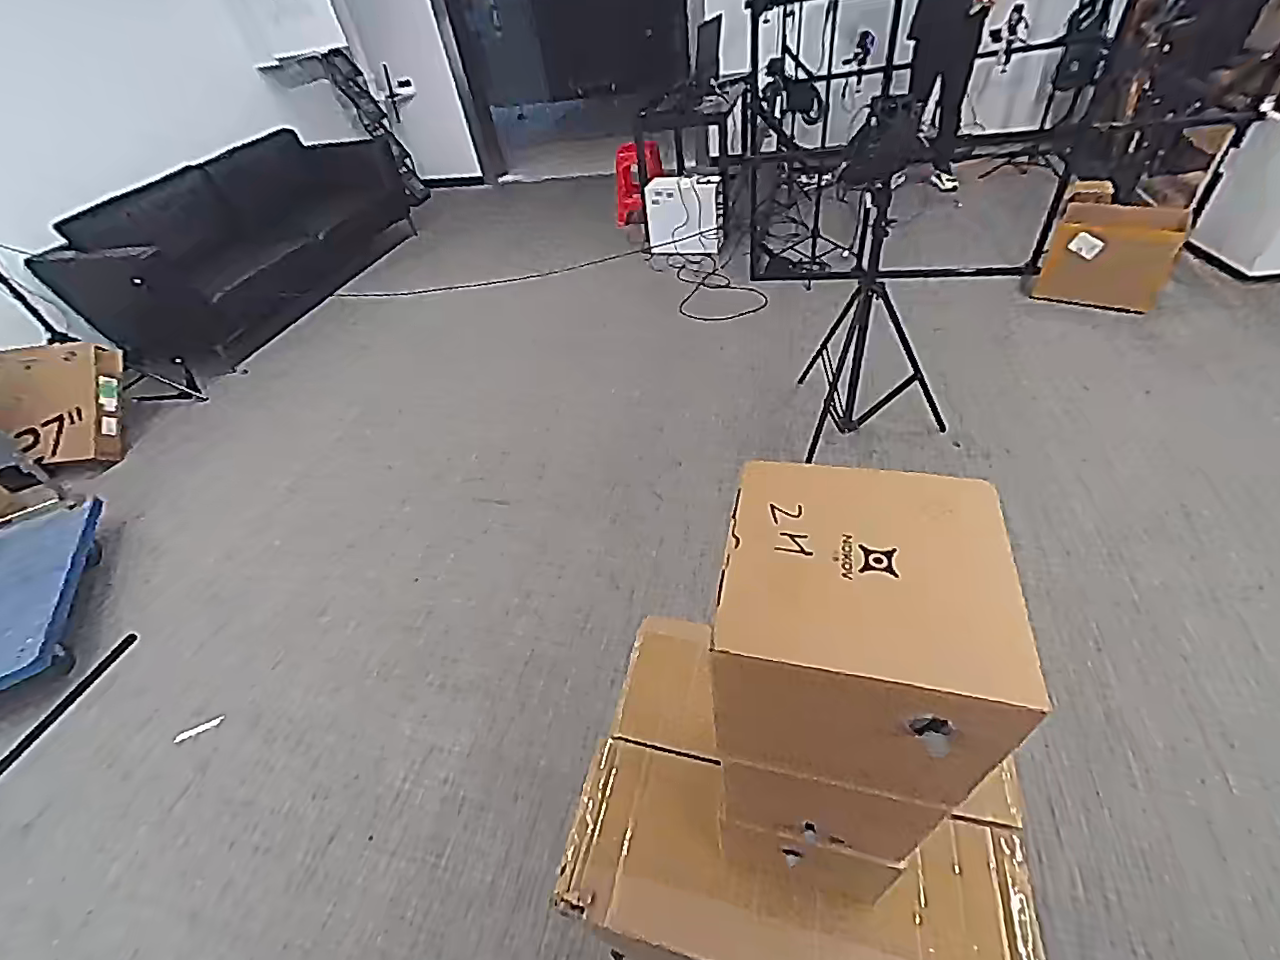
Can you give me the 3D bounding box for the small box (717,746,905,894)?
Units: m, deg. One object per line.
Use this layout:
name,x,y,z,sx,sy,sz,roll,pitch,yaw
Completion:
small box,0.191,0.346,0.623,0.179,0.176,0.168,6,46,16

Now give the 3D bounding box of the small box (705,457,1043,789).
small box,0.152,0.105,0.402,0.179,0.176,0.168,6,46,16
